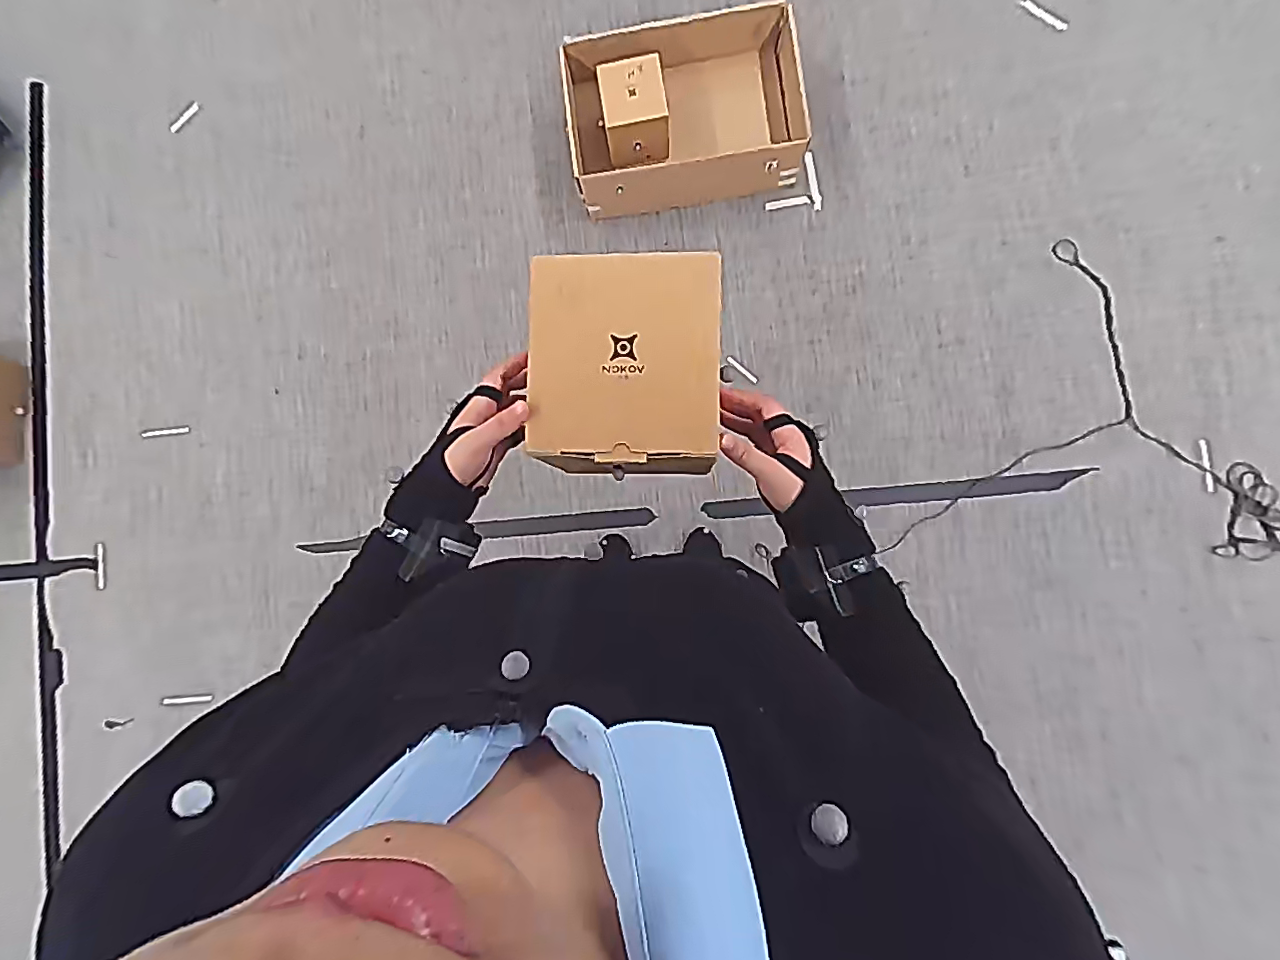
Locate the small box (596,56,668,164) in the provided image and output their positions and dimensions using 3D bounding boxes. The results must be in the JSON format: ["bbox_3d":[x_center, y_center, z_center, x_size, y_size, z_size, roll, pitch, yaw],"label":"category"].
[{"bbox_3d":[-0.016,-0.989,1.465,0.168,0.176,0.179,-9,85,2],"label":"small box"}]

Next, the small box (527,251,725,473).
[{"bbox_3d":[-0.007,-0.102,0.533,0.168,0.176,0.179,1,87,4],"label":"small box"}]
